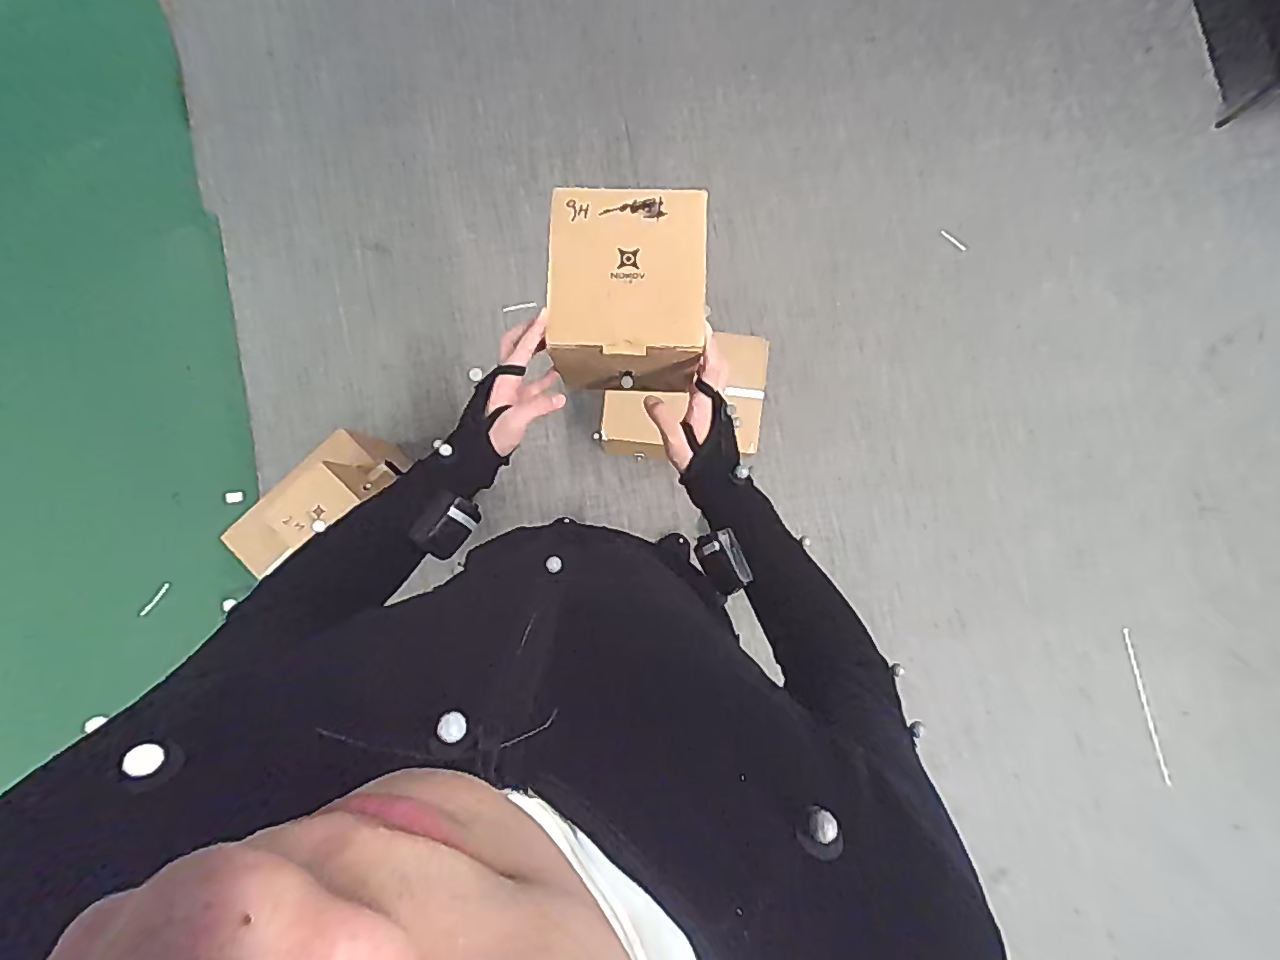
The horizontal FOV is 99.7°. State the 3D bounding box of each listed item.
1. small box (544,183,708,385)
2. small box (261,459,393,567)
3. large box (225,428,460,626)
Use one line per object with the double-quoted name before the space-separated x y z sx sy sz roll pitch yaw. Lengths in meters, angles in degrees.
"small box" -0.012 -0.215 0.635 0.168 0.176 0.179 2 85 0
"small box" -0.700 0.075 1.240 0.168 0.176 0.179 45 86 1
"large box" -0.780 0.121 1.483 0.320 0.320 0.408 45 87 3
